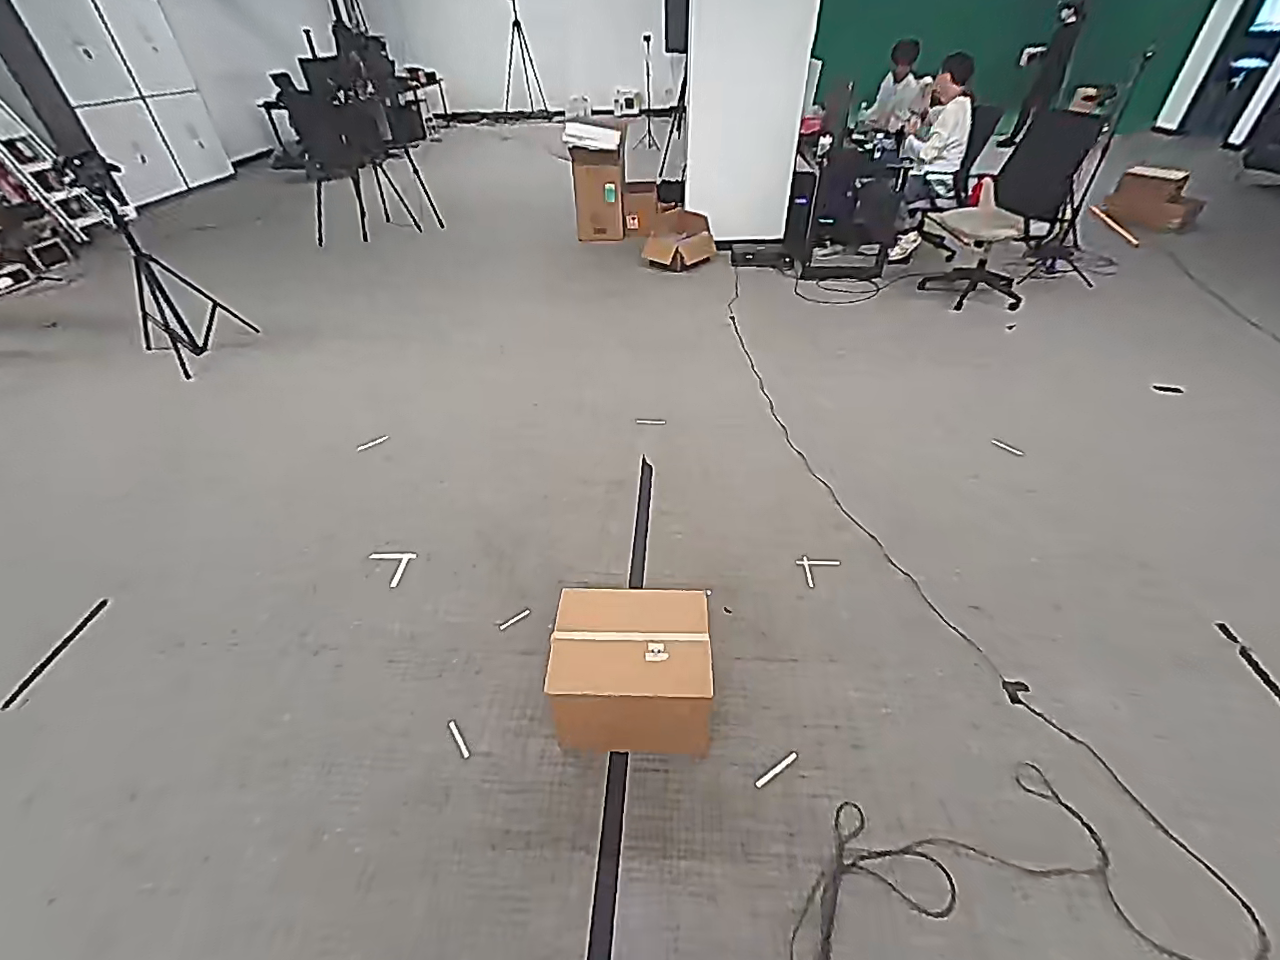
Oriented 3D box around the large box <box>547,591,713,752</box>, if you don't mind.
[{"bbox_3d":[-0.020,0.524,1.484,0.408,0.320,0.320,1,41,2],"label":"large box"}]
